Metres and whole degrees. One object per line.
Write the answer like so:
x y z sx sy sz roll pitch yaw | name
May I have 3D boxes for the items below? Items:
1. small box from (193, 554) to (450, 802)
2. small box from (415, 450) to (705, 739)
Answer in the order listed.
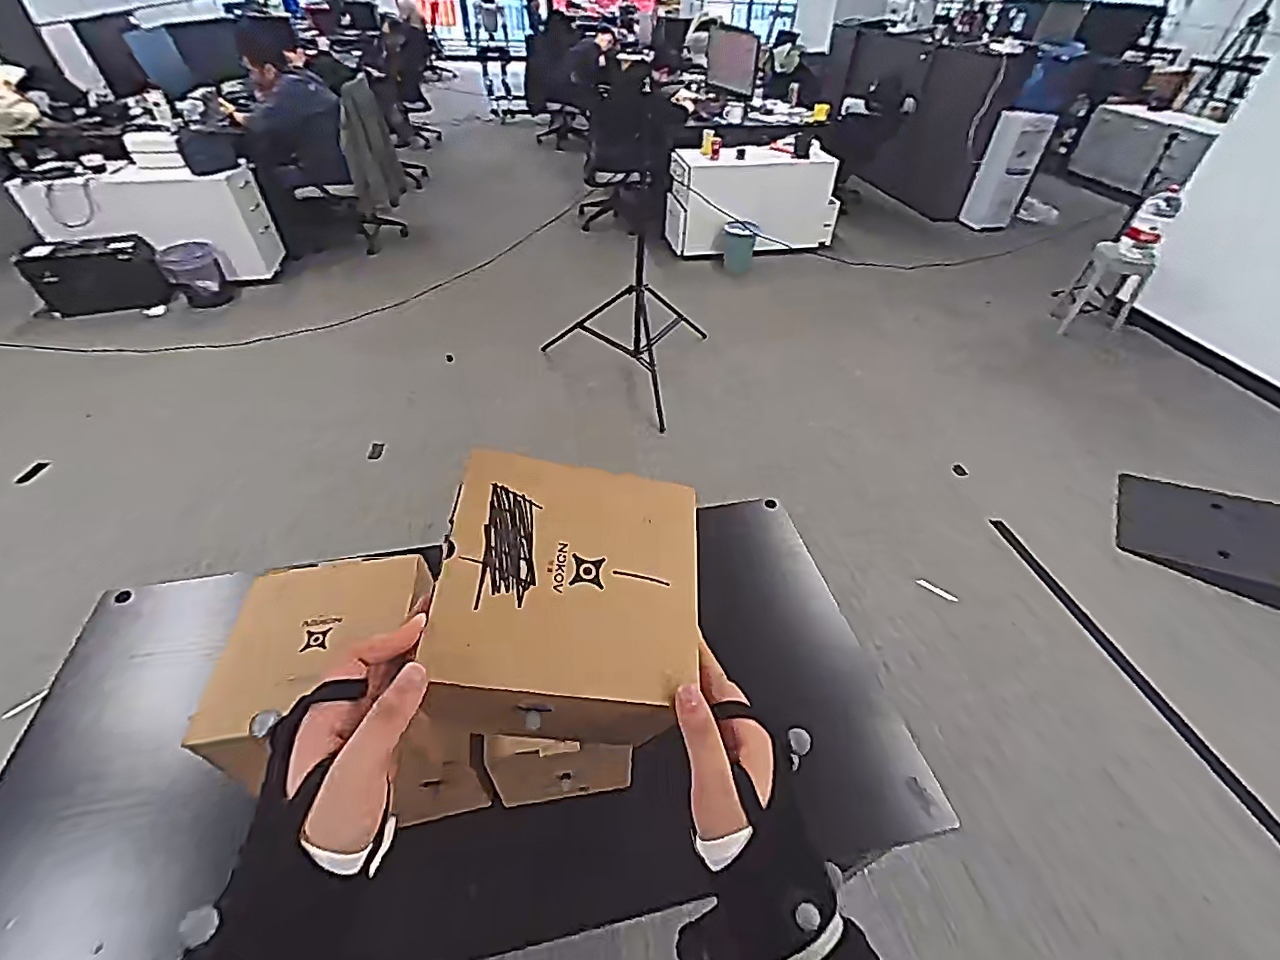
-0.297 0.204 0.562 0.168 0.176 0.179 -7 46 -6 | small box
-0.059 0.101 0.428 0.179 0.176 0.168 10 56 -10 | small box
